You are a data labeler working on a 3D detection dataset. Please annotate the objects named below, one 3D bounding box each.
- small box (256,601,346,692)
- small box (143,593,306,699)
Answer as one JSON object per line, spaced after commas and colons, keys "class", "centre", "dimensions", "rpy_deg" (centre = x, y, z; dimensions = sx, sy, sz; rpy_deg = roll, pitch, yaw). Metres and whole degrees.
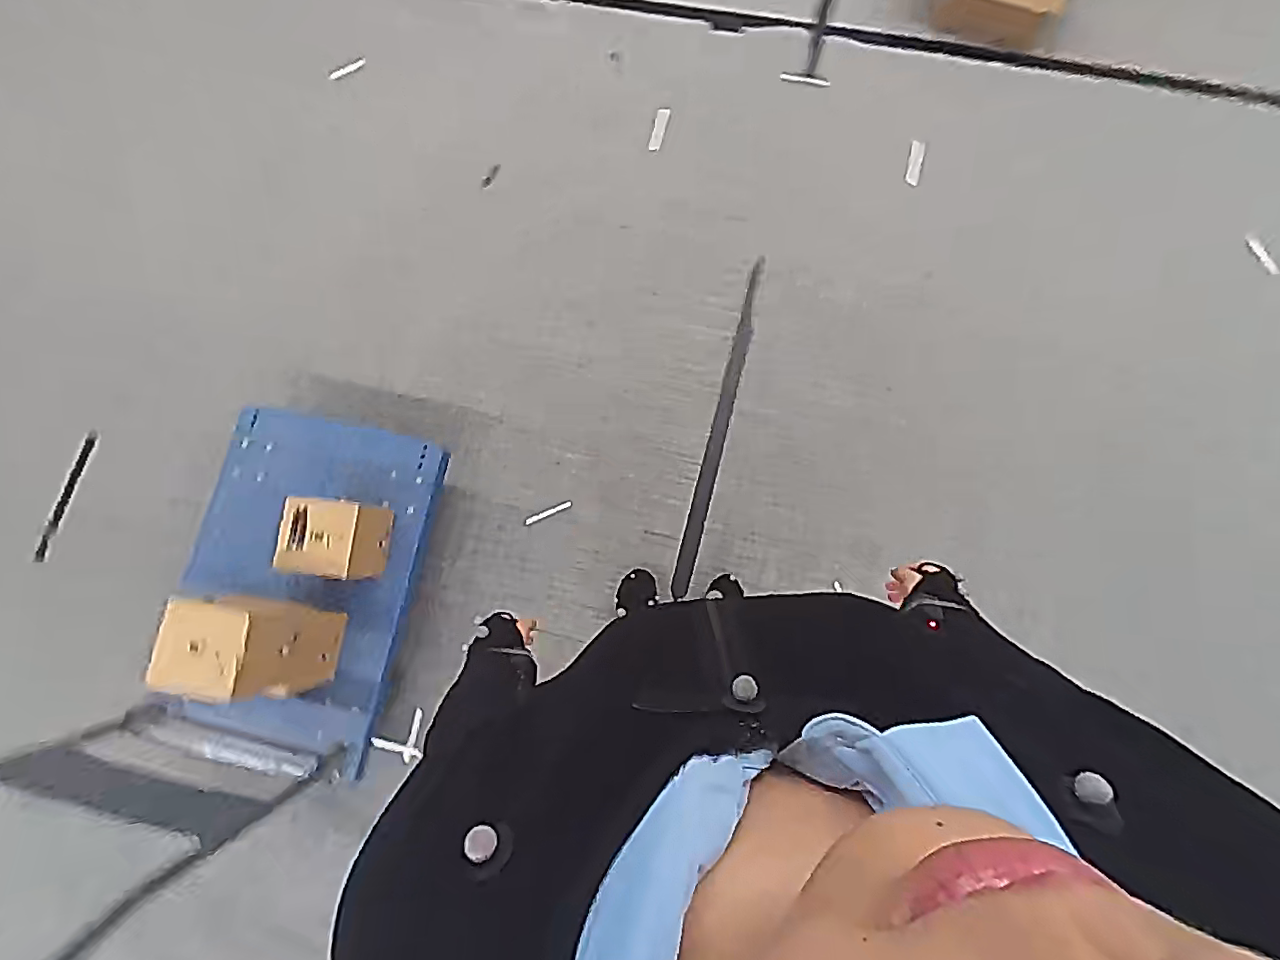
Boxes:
{"class": "small box", "centre": [-0.828, 0.378, 1.254], "dimensions": [0.179, 0.176, 0.168], "rpy_deg": [9, 81, 3]}
{"class": "small box", "centre": [-0.829, 0.326, 1.096], "dimensions": [0.179, 0.176, 0.168], "rpy_deg": [10, 81, 3]}
